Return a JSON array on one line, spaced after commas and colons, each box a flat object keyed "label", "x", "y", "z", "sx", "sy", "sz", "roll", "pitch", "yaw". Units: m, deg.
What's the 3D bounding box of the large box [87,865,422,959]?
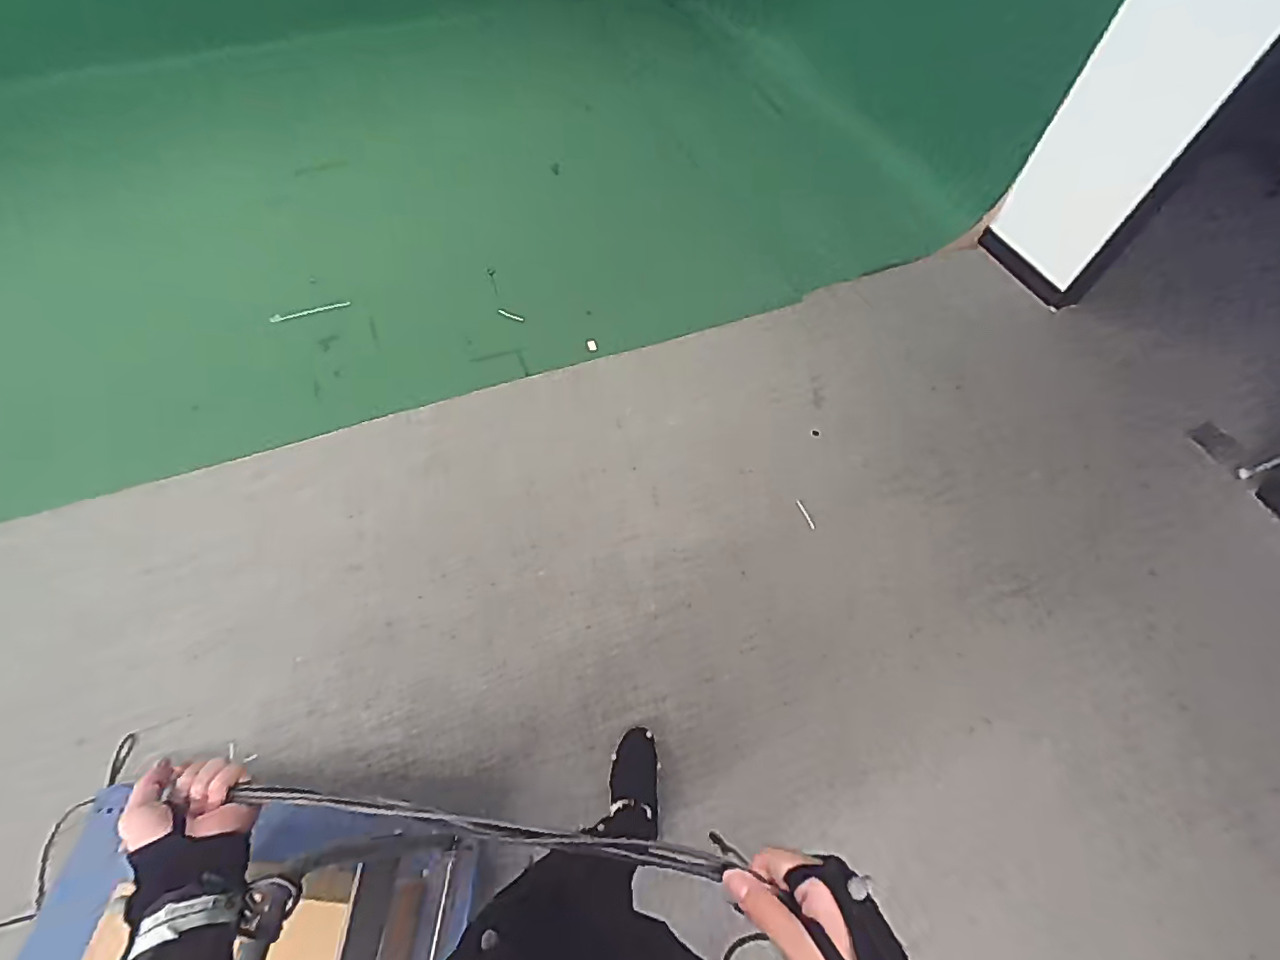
[{"label": "large box", "x": -0.650, "y": 0.871, "z": 0.920, "sx": 0.408, "sy": 0.320, "sz": 0.320, "roll": 3, "pitch": 59, "yaw": 3}]
